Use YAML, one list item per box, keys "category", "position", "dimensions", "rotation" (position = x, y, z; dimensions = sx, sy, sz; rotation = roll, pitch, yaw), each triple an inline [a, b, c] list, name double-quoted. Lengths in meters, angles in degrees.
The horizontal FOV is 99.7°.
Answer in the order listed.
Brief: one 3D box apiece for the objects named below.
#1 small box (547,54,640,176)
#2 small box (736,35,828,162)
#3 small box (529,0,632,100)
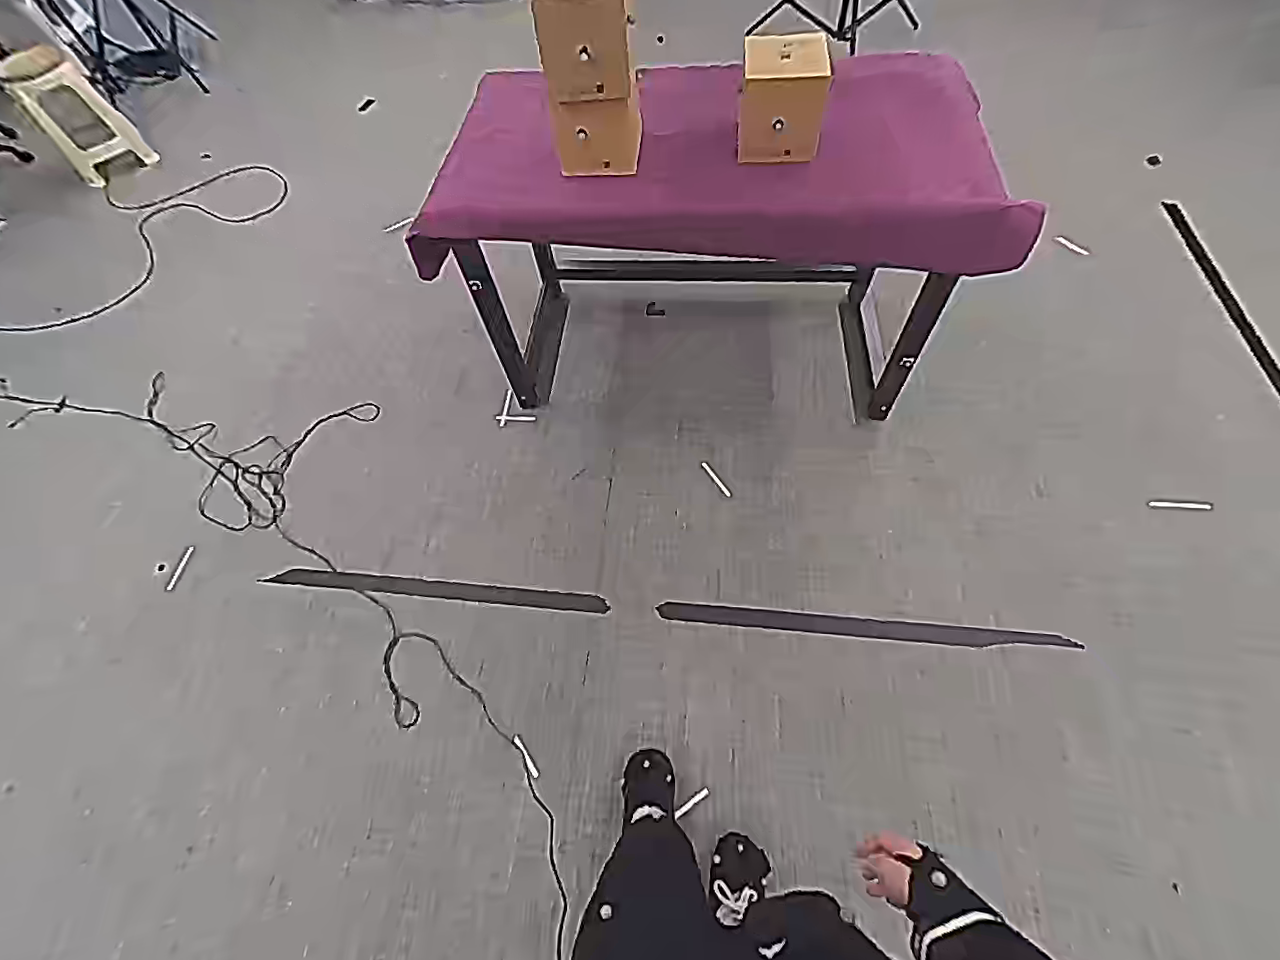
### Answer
- category: "small box"
  position: [-0.093, -0.790, 1.181]
  dimensions: [0.168, 0.176, 0.179]
  rotation: [2, 60, 6]
- category: "small box"
  position: [0.296, -0.807, 1.154]
  dimensions: [0.168, 0.176, 0.179]
  rotation: [3, 61, 6]
- category: "small box"
  position: [-0.103, -0.852, 1.028]
  dimensions: [0.168, 0.176, 0.179]
  rotation: [-2, 61, 4]
